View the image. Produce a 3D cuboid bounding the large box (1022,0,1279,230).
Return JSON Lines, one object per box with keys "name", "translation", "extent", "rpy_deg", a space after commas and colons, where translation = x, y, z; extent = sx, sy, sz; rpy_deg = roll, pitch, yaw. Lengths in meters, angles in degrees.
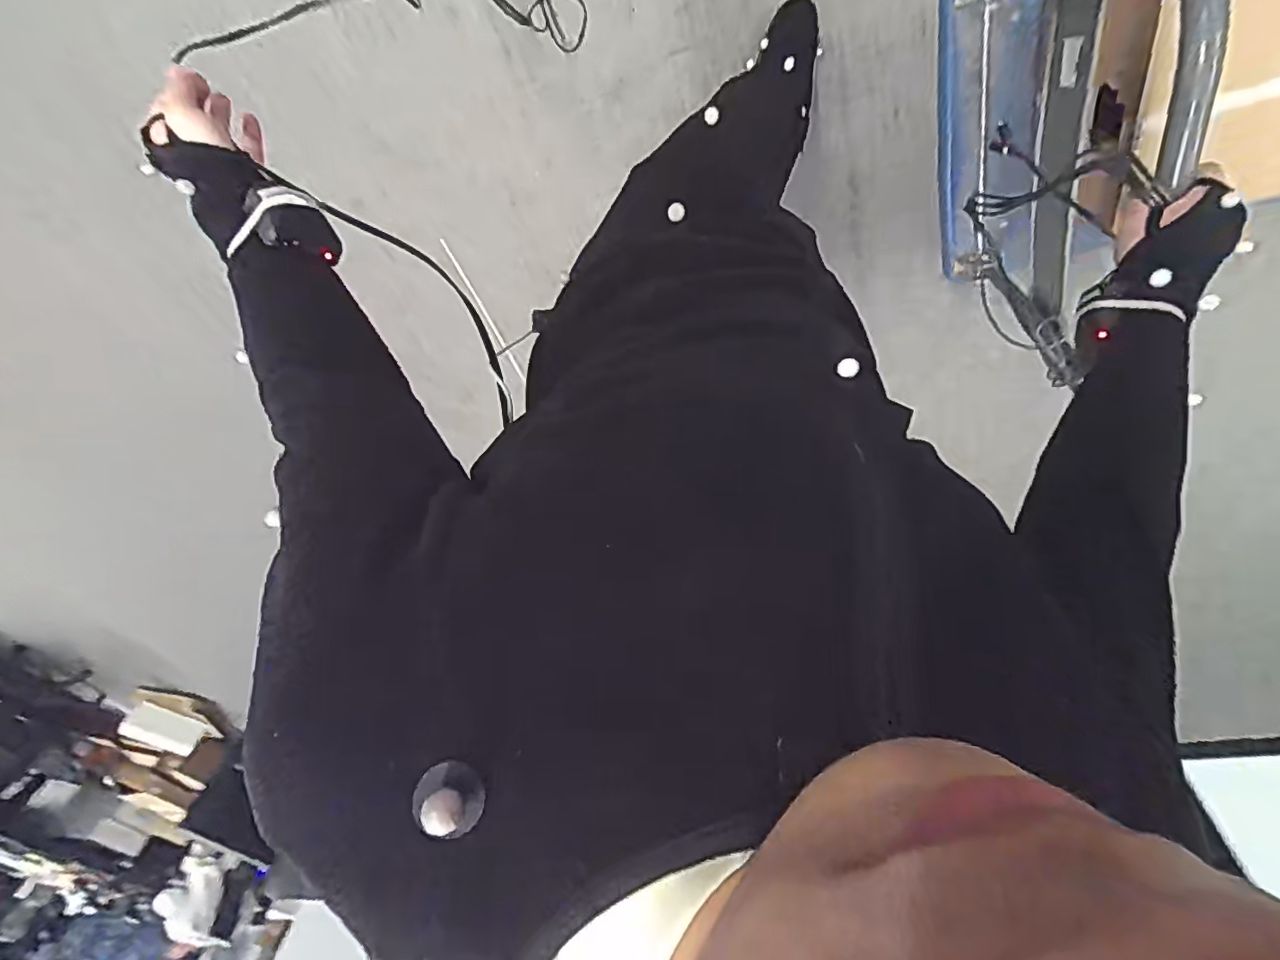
{"name": "large box", "translation": [0.890, -0.640, 0.837], "extent": [0.408, 0.320, 0.320], "rpy_deg": [-10, 128, 15]}
